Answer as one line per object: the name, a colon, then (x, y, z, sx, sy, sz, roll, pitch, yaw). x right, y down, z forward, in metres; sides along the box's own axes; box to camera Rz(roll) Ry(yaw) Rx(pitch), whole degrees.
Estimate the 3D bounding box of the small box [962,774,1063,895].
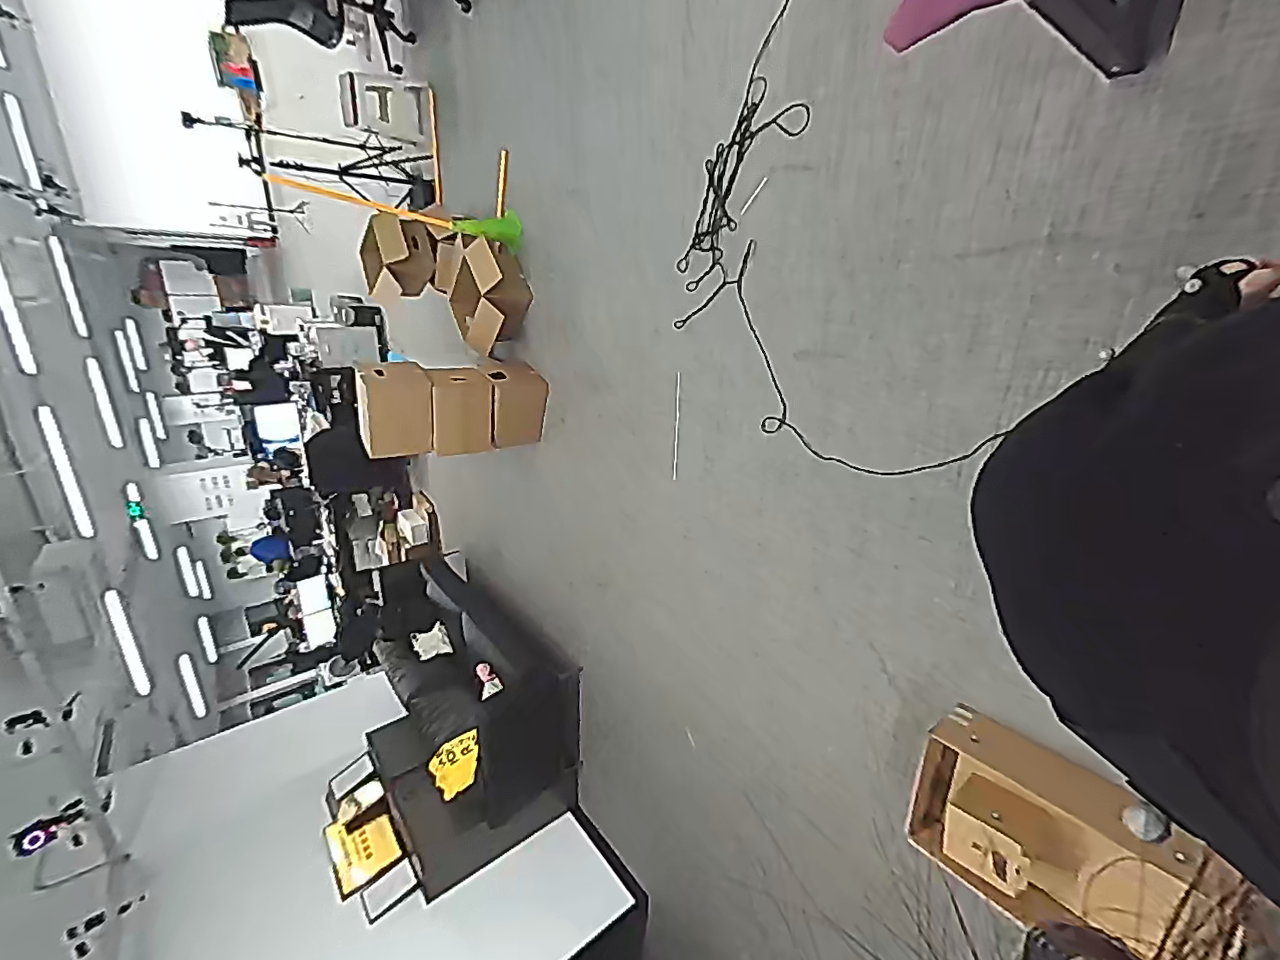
small box: (0.989, 0.927, 1.435, 0.179, 0.176, 0.168, 14, 111, 51)
